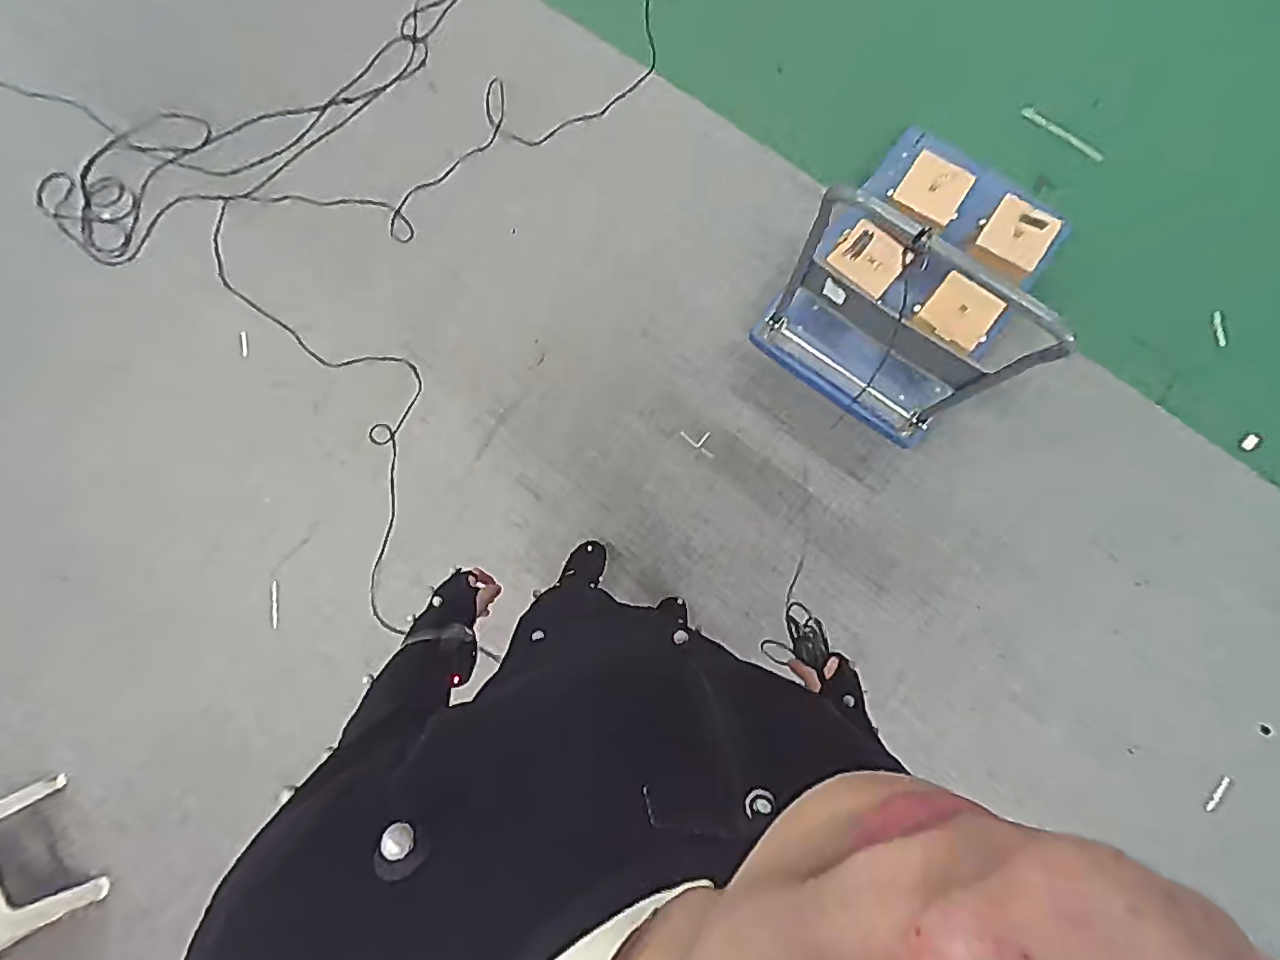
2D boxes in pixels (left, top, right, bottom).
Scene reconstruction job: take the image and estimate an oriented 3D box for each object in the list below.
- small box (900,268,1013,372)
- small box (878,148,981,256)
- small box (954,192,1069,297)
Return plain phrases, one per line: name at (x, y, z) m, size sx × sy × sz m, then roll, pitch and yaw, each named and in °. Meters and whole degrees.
small box at (0.844, -0.425, 1.463) m, size 0.168 × 0.176 × 0.179 m, roll 38°, pitch 85°, yaw 8°
small box at (0.802, -0.773, 1.523) m, size 0.168 × 0.176 × 0.179 m, roll 34°, pitch 83°, yaw 7°
small box at (1.011, -0.636, 1.490) m, size 0.168 × 0.176 × 0.179 m, roll 34°, pitch 85°, yaw 8°
